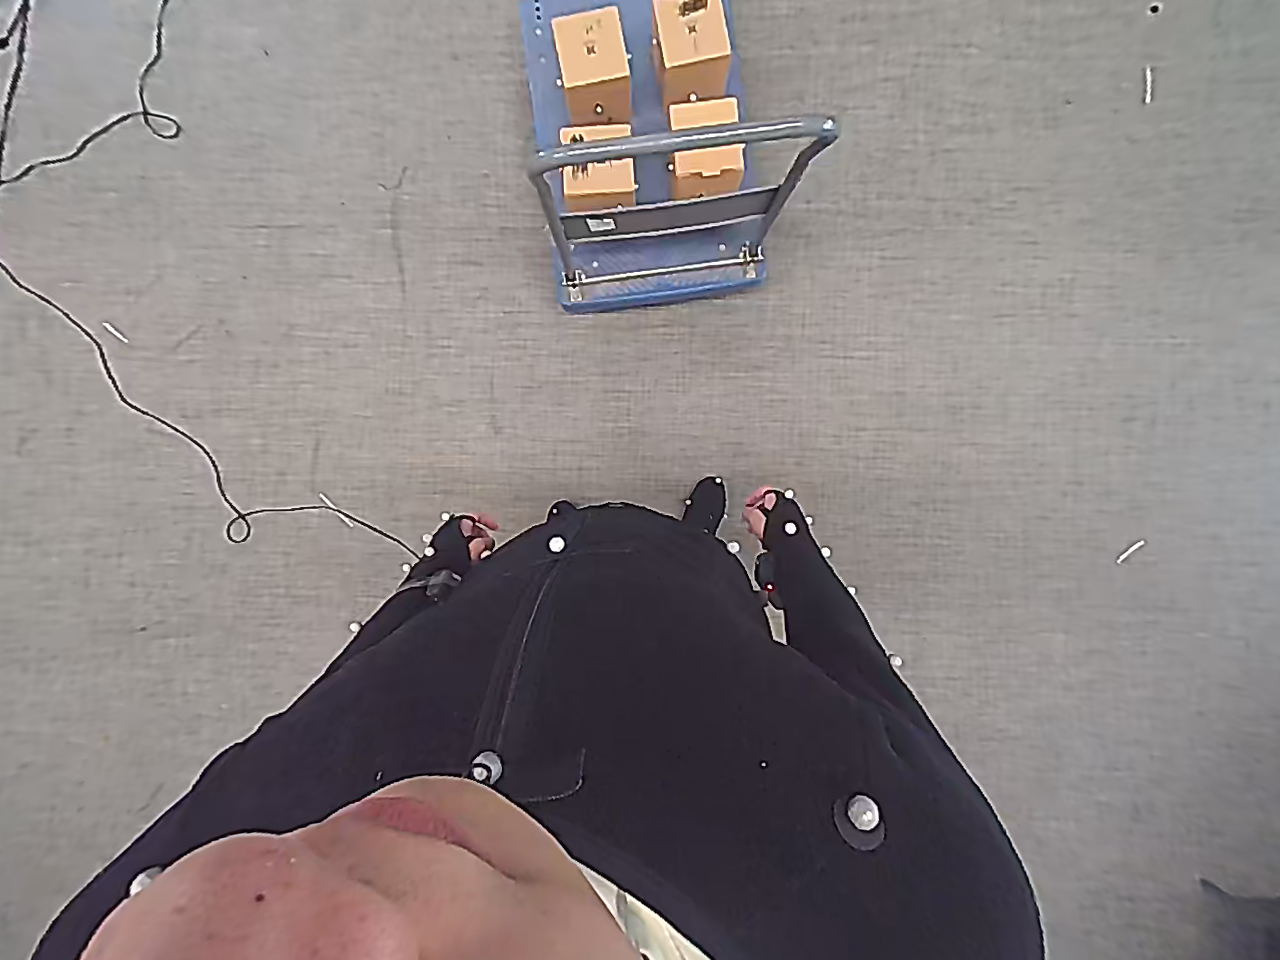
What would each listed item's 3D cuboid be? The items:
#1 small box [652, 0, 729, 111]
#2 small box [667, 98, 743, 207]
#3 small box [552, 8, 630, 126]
[{"bbox_3d":[0.125,-1.111,1.403,0.168,0.176,0.179,-11,91,2],"label":"small box"},{"bbox_3d":[0.162,-0.843,1.404,0.168,0.176,0.179,-7,90,0],"label":"small box"},{"bbox_3d":[-0.121,-1.060,1.406,0.168,0.176,0.179,-11,90,0],"label":"small box"}]
